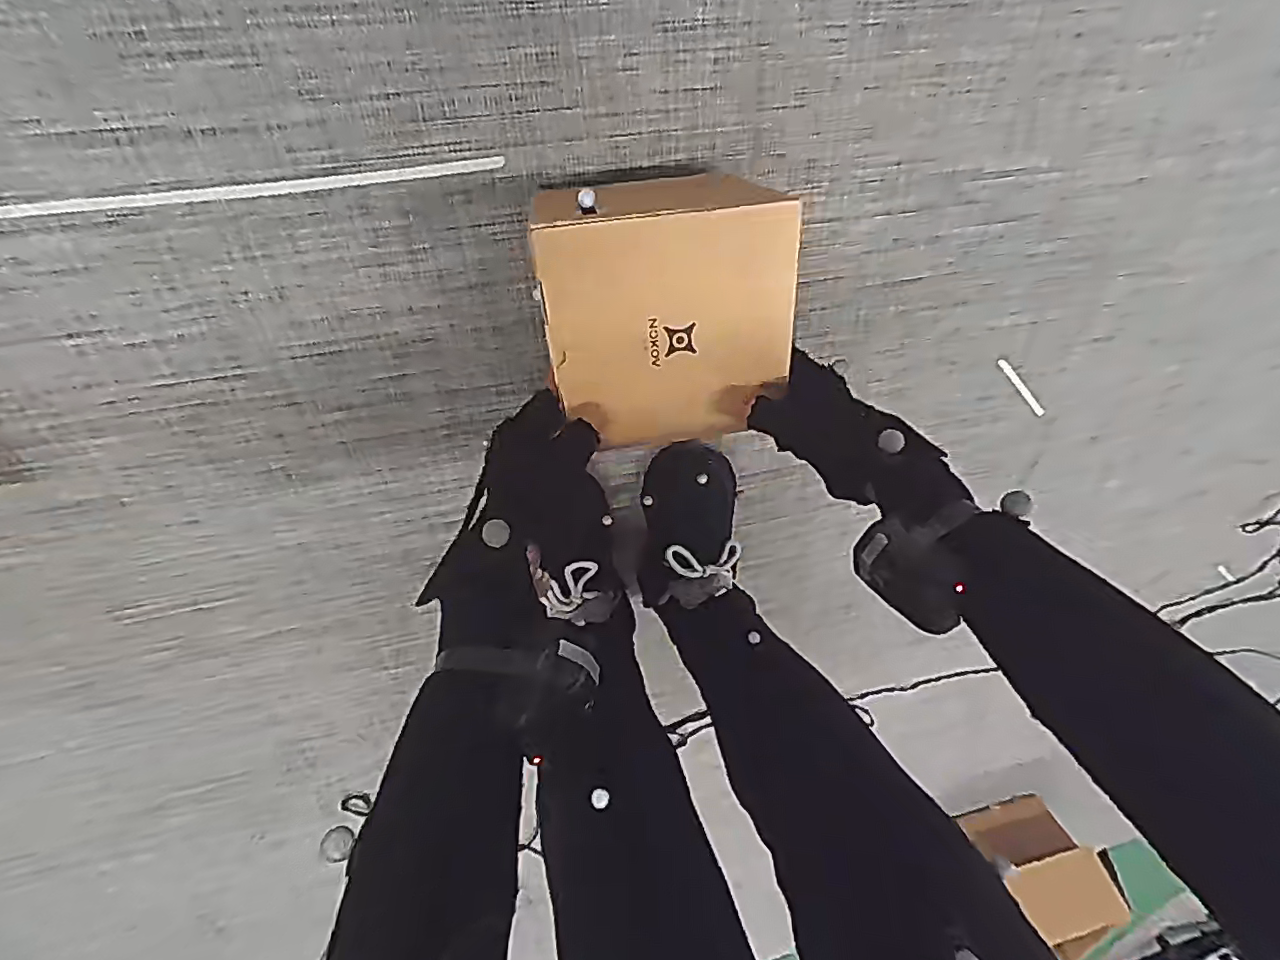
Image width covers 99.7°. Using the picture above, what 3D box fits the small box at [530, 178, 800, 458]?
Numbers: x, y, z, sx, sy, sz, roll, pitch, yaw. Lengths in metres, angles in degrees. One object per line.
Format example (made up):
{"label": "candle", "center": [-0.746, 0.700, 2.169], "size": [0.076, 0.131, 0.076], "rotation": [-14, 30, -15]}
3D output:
{"label": "small box", "center": [0.013, -0.141, 0.445], "size": [0.179, 0.176, 0.168], "rotation": [-9, 124, -2]}
